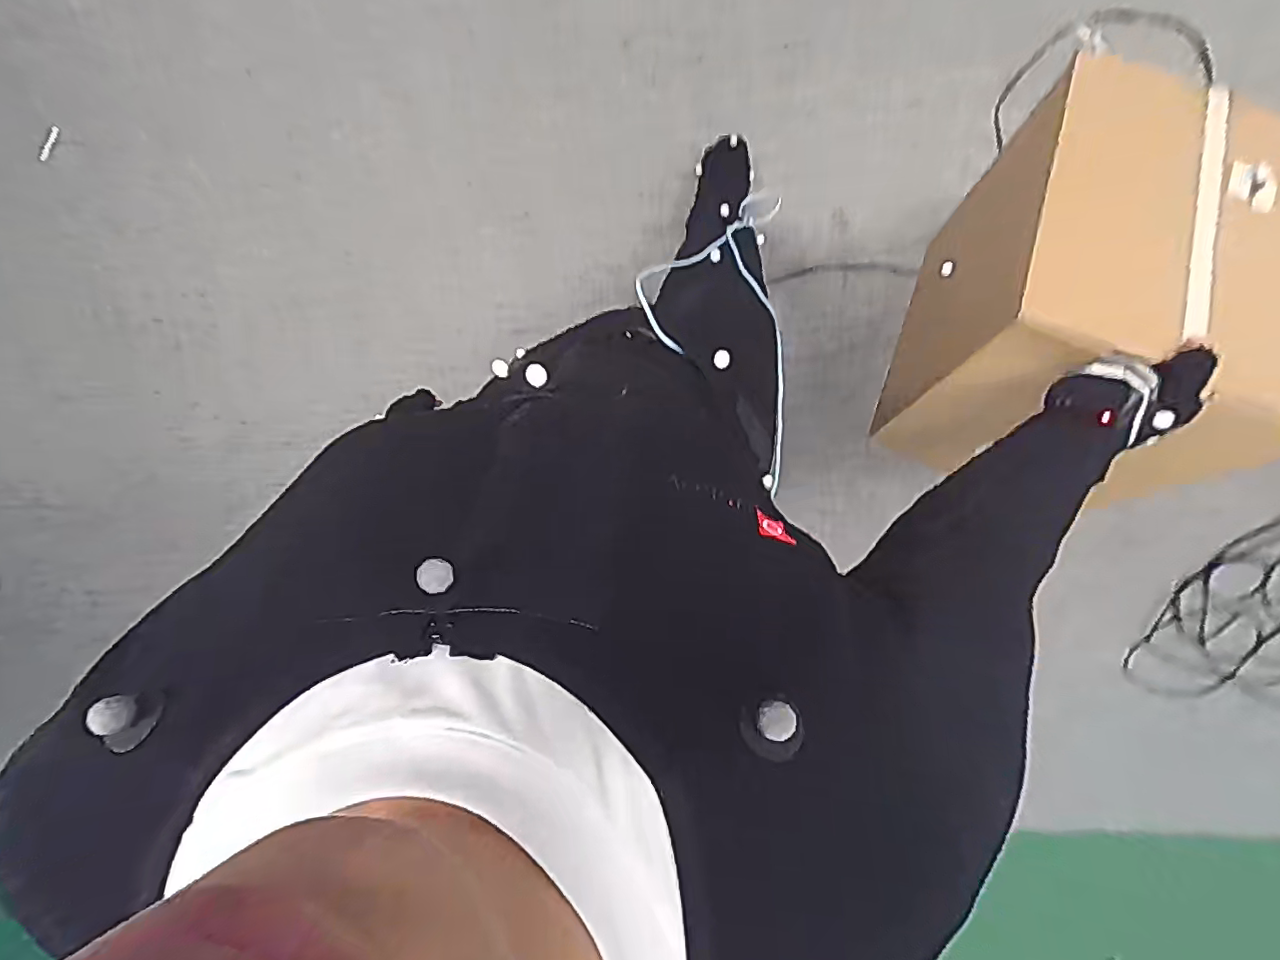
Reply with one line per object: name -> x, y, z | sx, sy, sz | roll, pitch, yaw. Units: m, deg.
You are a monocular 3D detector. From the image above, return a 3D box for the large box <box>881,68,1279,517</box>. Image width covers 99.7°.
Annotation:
large box -> 0.569, -0.215, 0.710 | 0.320, 0.320, 0.408 | 23, 72, 4
